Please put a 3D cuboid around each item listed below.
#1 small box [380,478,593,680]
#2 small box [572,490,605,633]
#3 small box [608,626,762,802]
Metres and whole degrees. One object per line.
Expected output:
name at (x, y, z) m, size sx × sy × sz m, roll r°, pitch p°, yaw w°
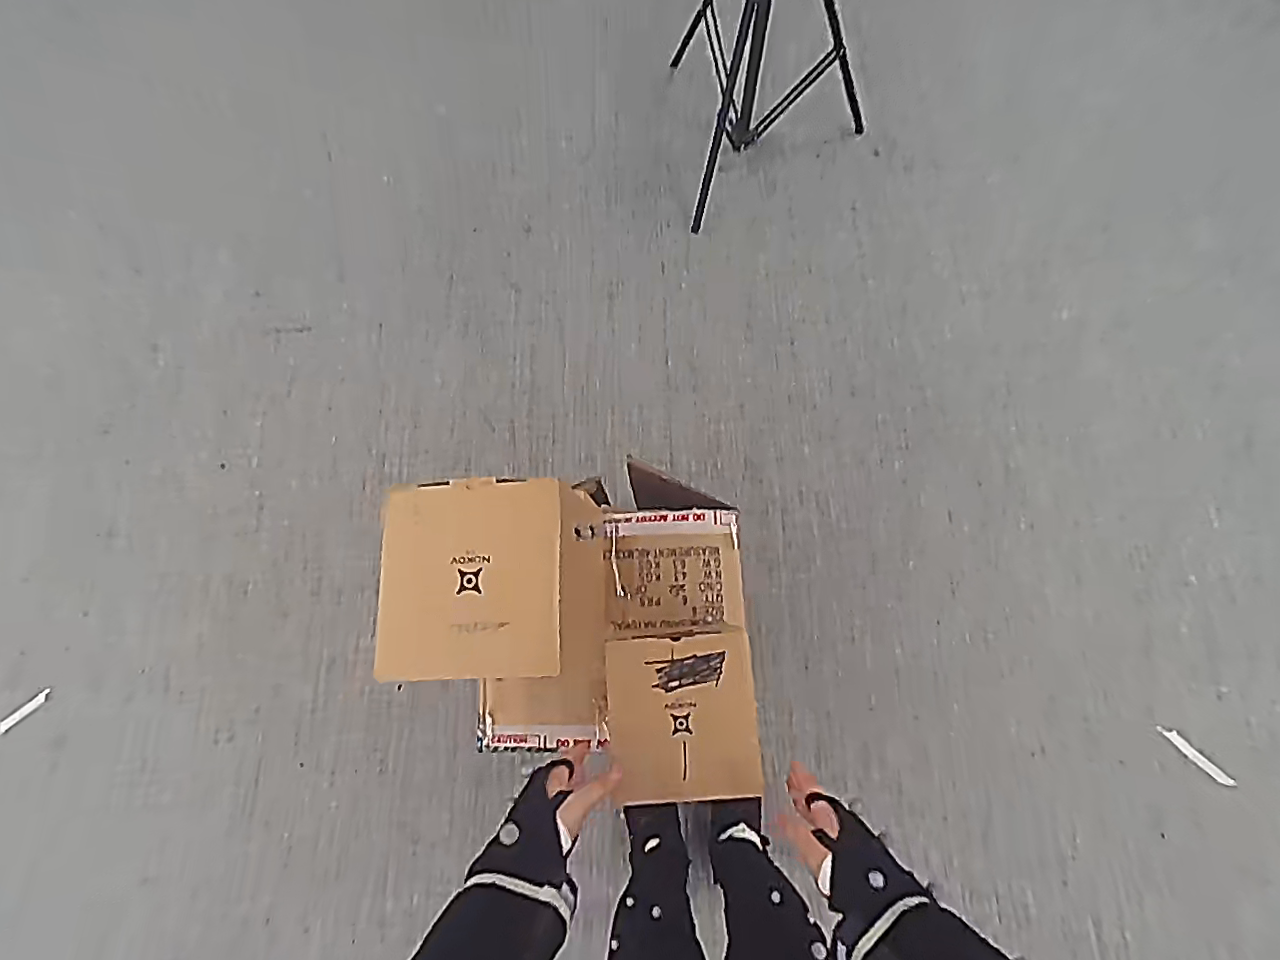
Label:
small box at (-0.143, 0.103, 0.562) m, size 0.168 × 0.176 × 0.179 m, roll -3°, pitch 78°, yaw 4°
small box at (-0.140, 0.118, 0.725) m, size 0.168 × 0.176 × 0.179 m, roll -3°, pitch 78°, yaw 3°
small box at (0.049, 0.277, 0.680) m, size 0.168 × 0.176 × 0.179 m, roll -4°, pitch 78°, yaw 1°
